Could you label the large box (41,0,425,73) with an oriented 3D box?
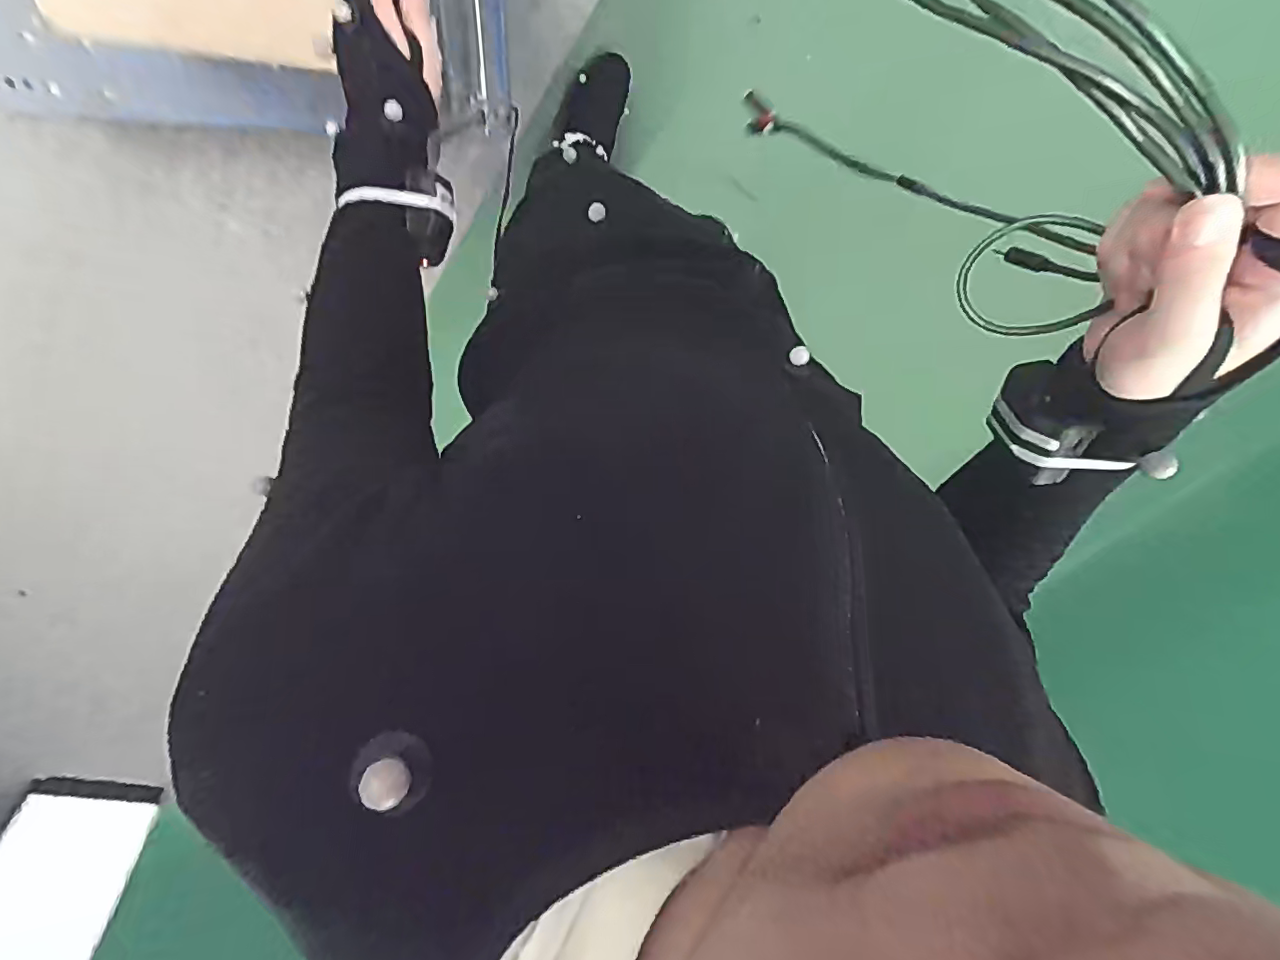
[{"bbox_3d":[-0.543,-0.773,0.733,0.408,0.320,0.320,-1,128,-11],"label":"large box"}]
